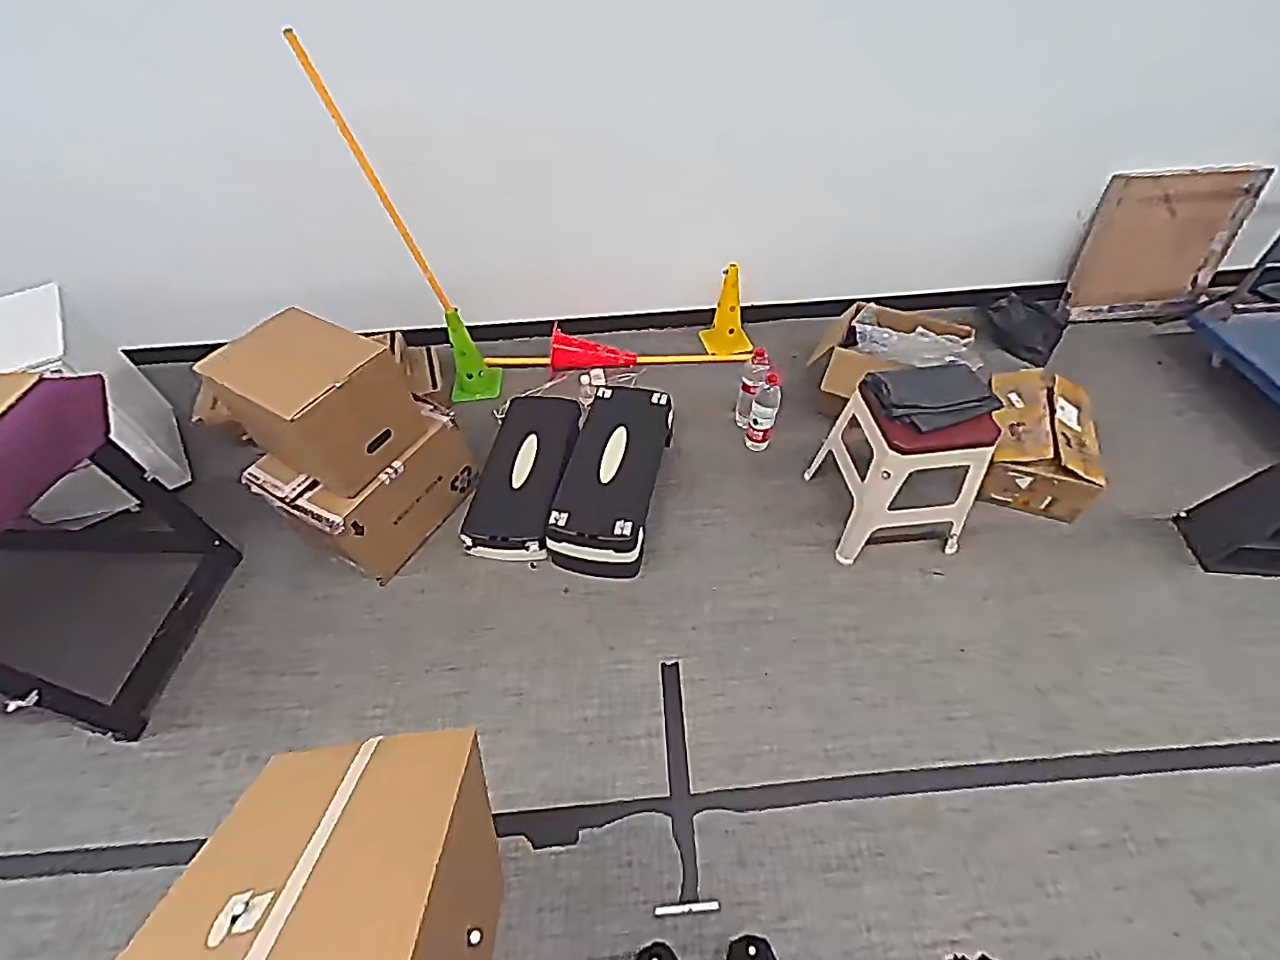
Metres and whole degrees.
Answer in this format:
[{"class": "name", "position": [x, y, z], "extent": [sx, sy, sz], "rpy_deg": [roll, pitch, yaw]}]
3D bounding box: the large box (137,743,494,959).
[{"class": "large box", "position": [-0.385, 0.625, 0.699], "extent": [0.320, 0.320, 0.408], "rpy_deg": [-7, 14, -5]}]
